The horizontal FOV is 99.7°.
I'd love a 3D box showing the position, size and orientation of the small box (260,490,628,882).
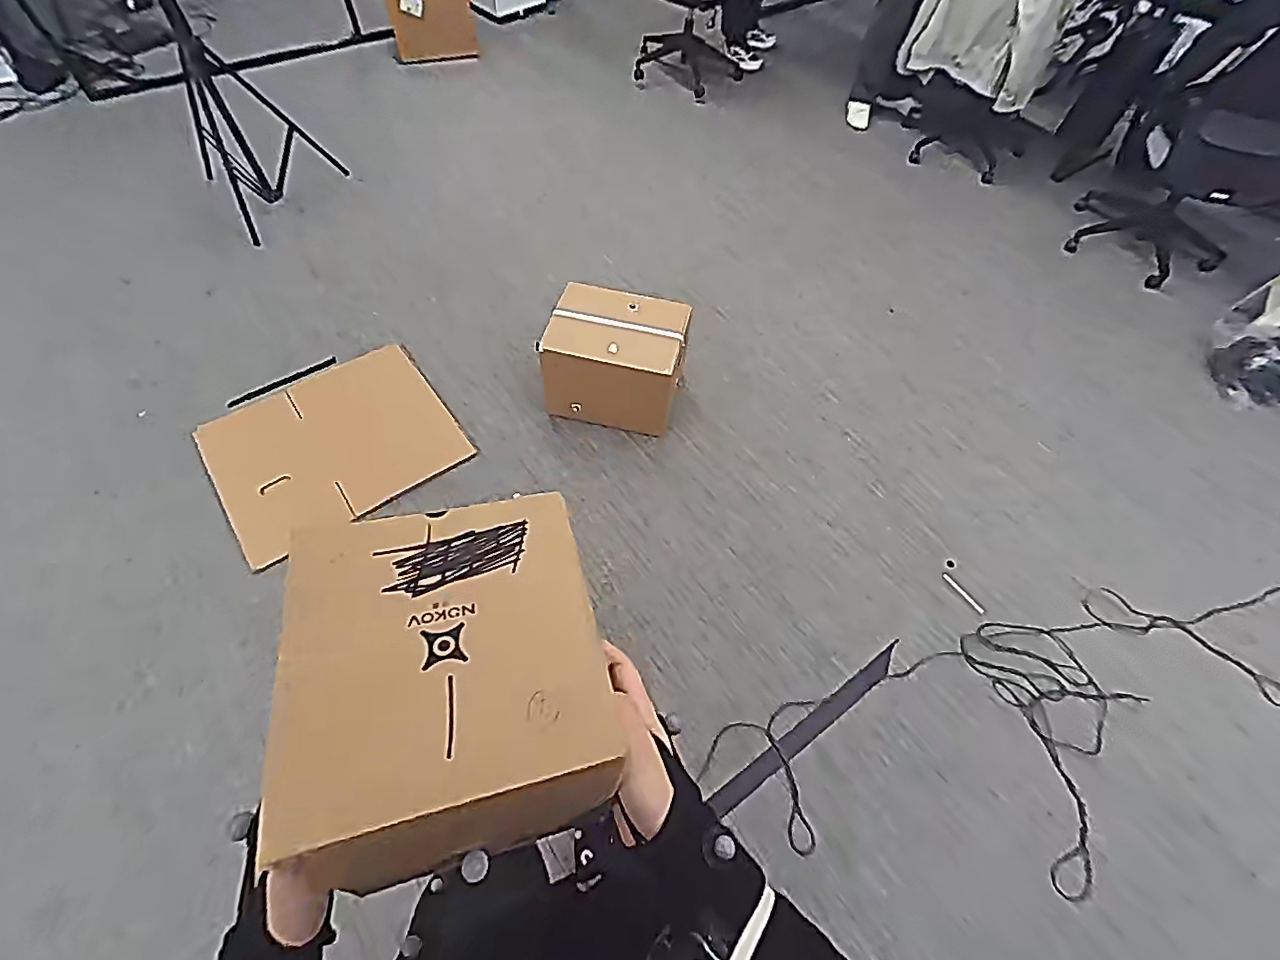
[{"bbox_3d":[-0.116,0.133,0.360,0.168,0.176,0.179,-9,51,-16],"label":"small box"}]
